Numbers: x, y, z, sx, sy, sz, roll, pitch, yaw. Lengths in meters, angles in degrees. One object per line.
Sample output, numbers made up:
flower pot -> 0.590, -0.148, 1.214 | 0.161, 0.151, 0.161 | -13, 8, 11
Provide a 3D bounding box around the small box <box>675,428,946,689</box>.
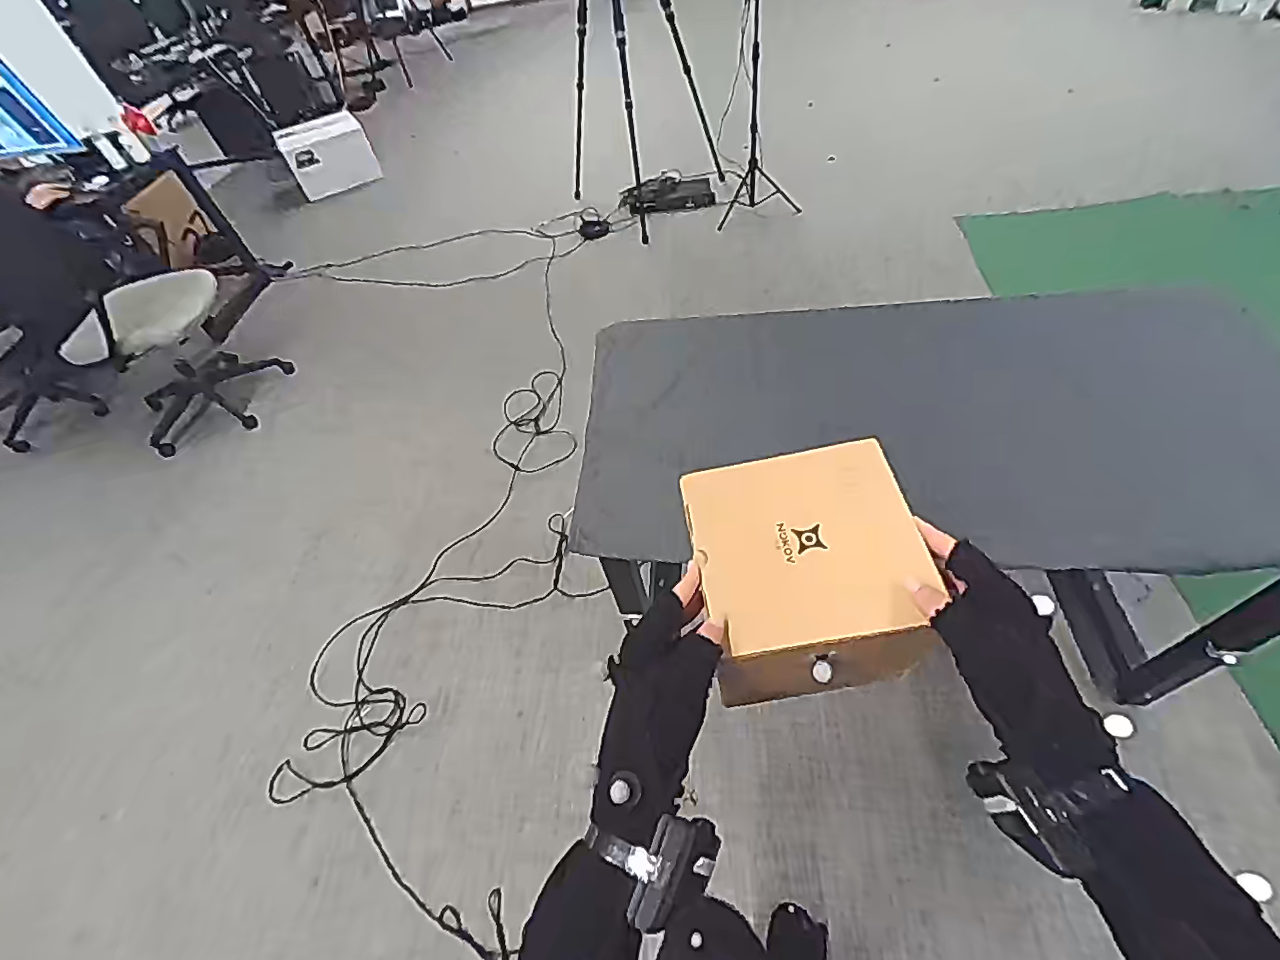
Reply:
small box -> 0.137, 0.081, 0.496 | 0.179, 0.176, 0.168 | -12, 56, 5
